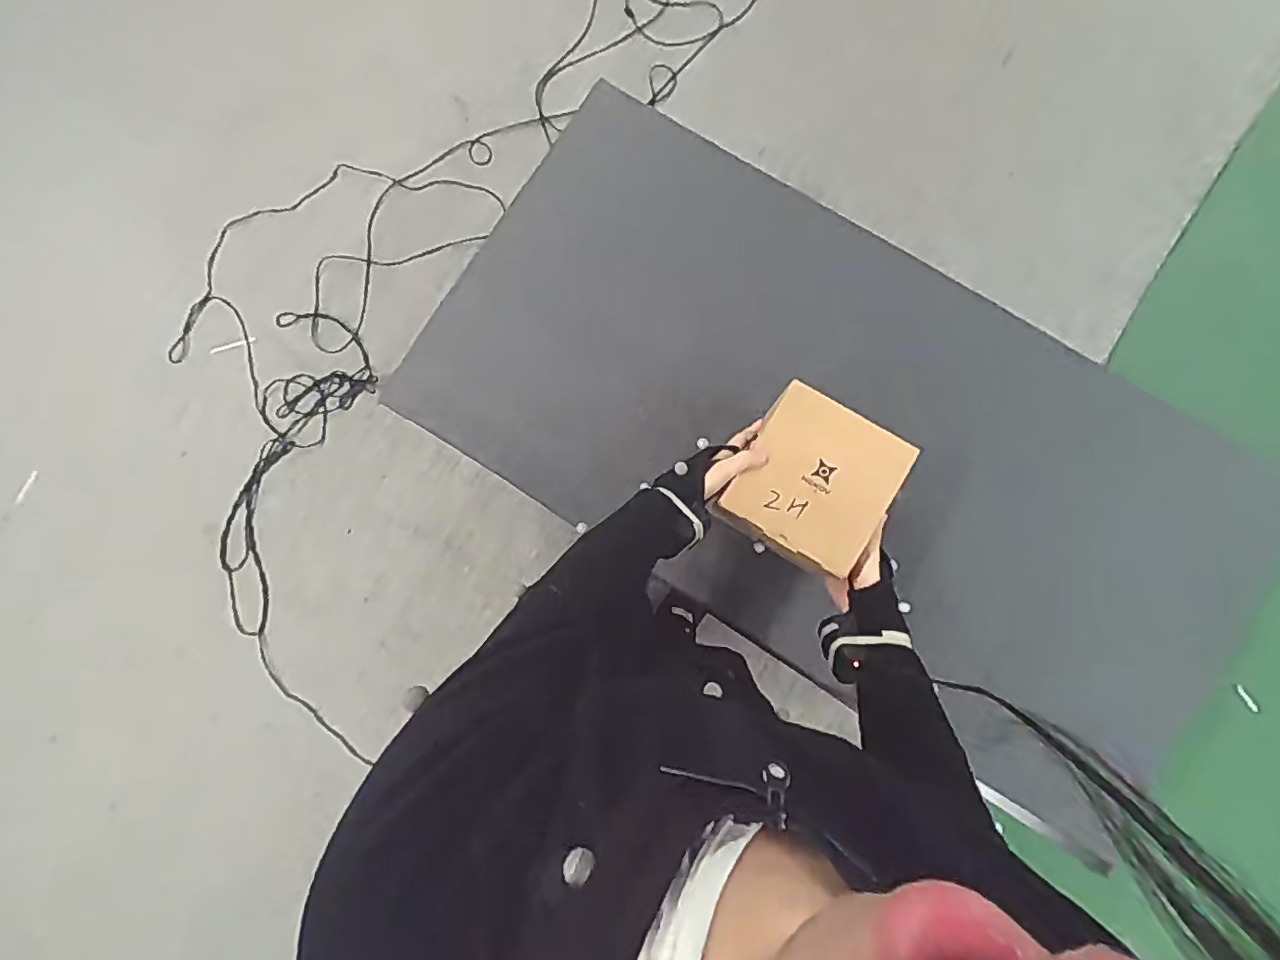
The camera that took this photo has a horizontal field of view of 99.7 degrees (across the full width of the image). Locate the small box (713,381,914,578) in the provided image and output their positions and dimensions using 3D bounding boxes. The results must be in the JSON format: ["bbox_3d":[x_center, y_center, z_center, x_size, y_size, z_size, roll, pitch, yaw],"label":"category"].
[{"bbox_3d":[0.206,0.005,0.702,0.168,0.176,0.179,31,86,6],"label":"small box"}]
